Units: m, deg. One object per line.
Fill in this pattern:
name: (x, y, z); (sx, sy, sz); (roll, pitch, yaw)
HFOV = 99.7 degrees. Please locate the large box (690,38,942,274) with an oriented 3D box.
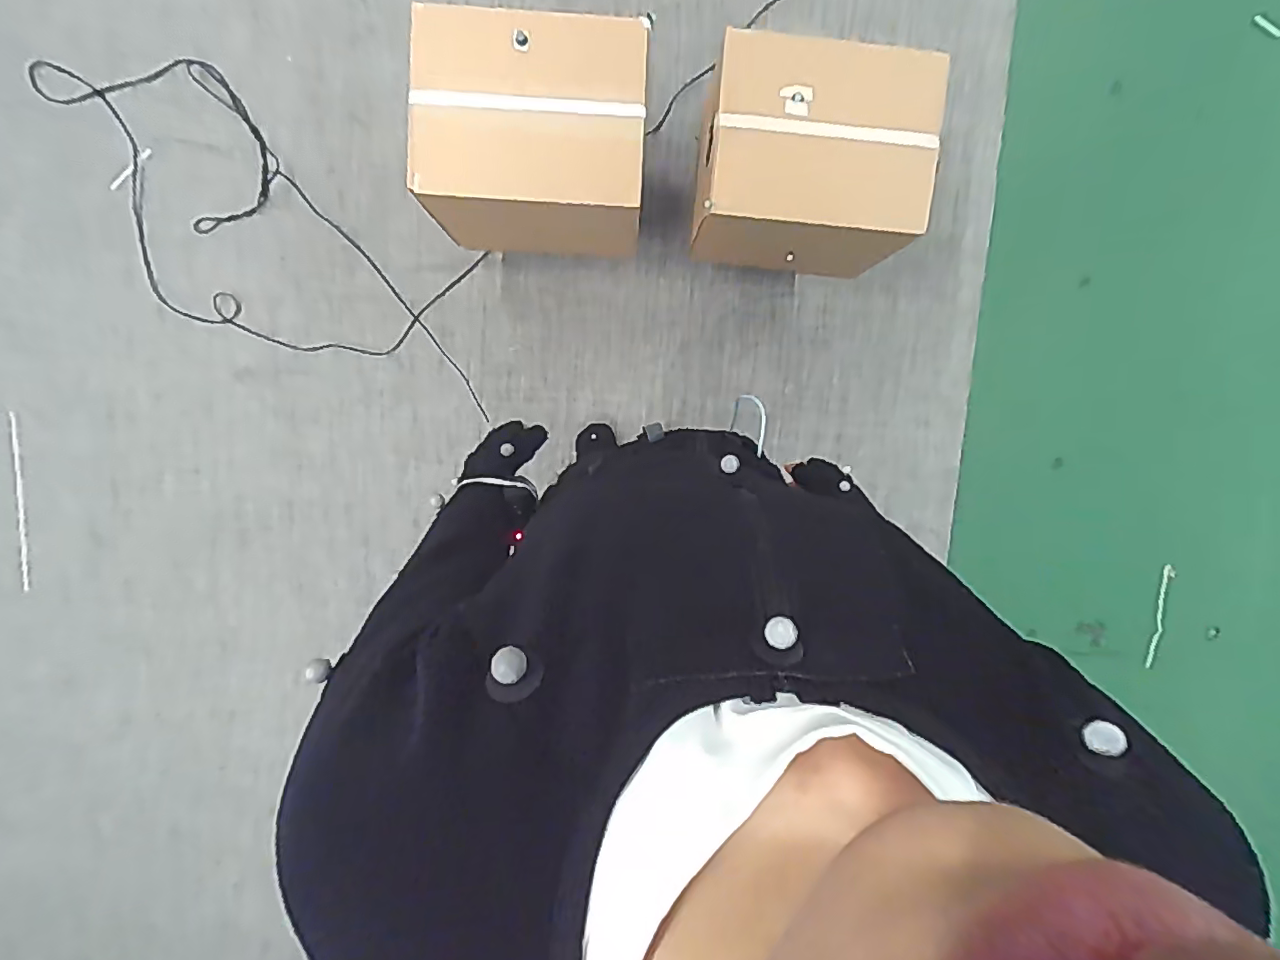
large box: (0.333, -0.636, 1.128); (0.408, 0.320, 0.320); (5, 96, -2)
